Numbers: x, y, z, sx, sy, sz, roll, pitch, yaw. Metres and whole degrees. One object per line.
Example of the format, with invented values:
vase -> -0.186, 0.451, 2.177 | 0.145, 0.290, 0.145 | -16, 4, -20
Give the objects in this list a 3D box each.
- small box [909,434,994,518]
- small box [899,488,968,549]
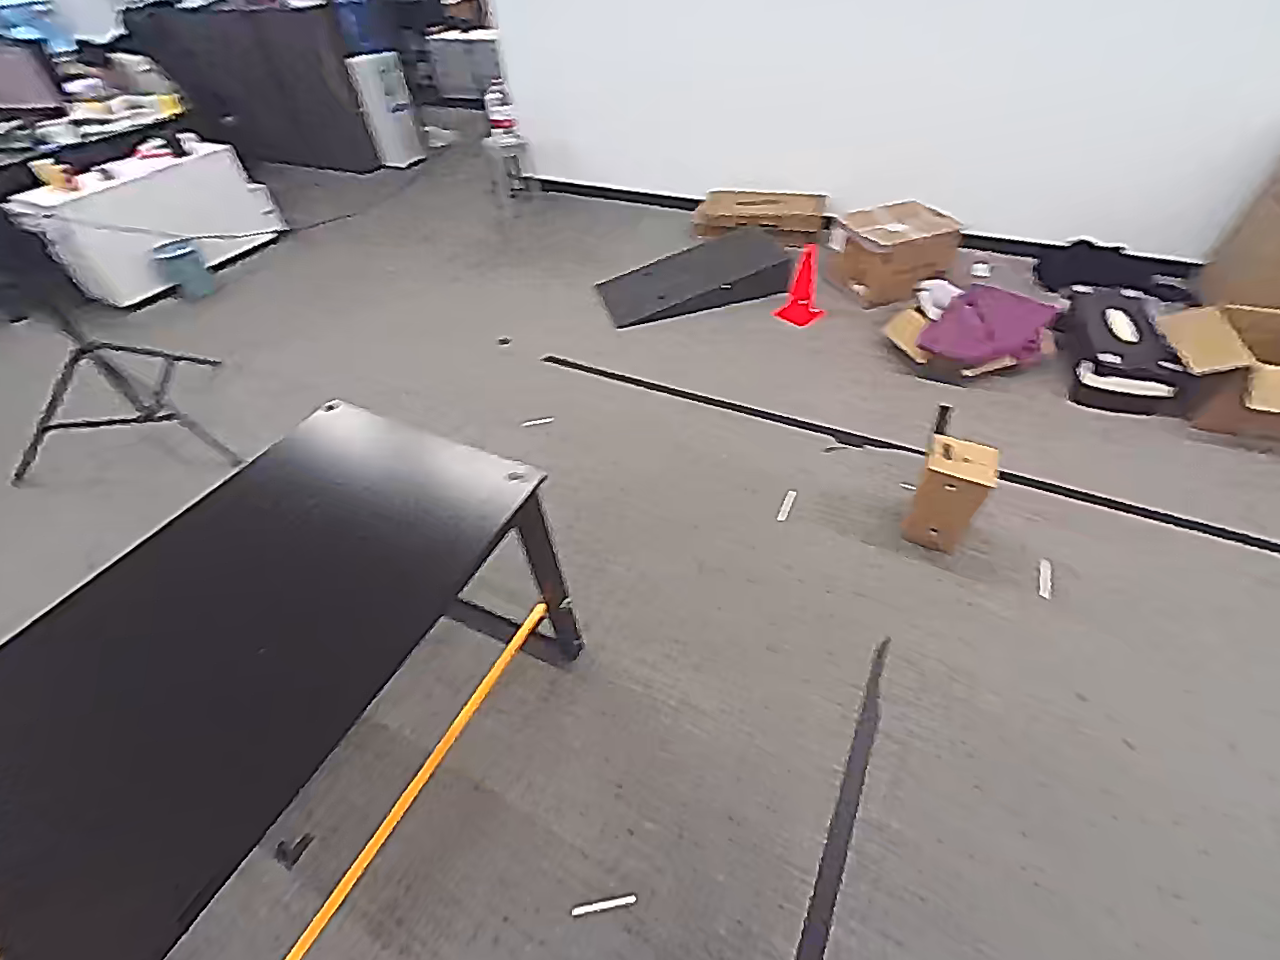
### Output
small box -> 0.939, -0.009, 1.637 | 0.179, 0.176, 0.168 | 18, 51, 19
small box -> 0.964, 0.096, 1.765 | 0.168, 0.176, 0.179 | 20, 52, 21
